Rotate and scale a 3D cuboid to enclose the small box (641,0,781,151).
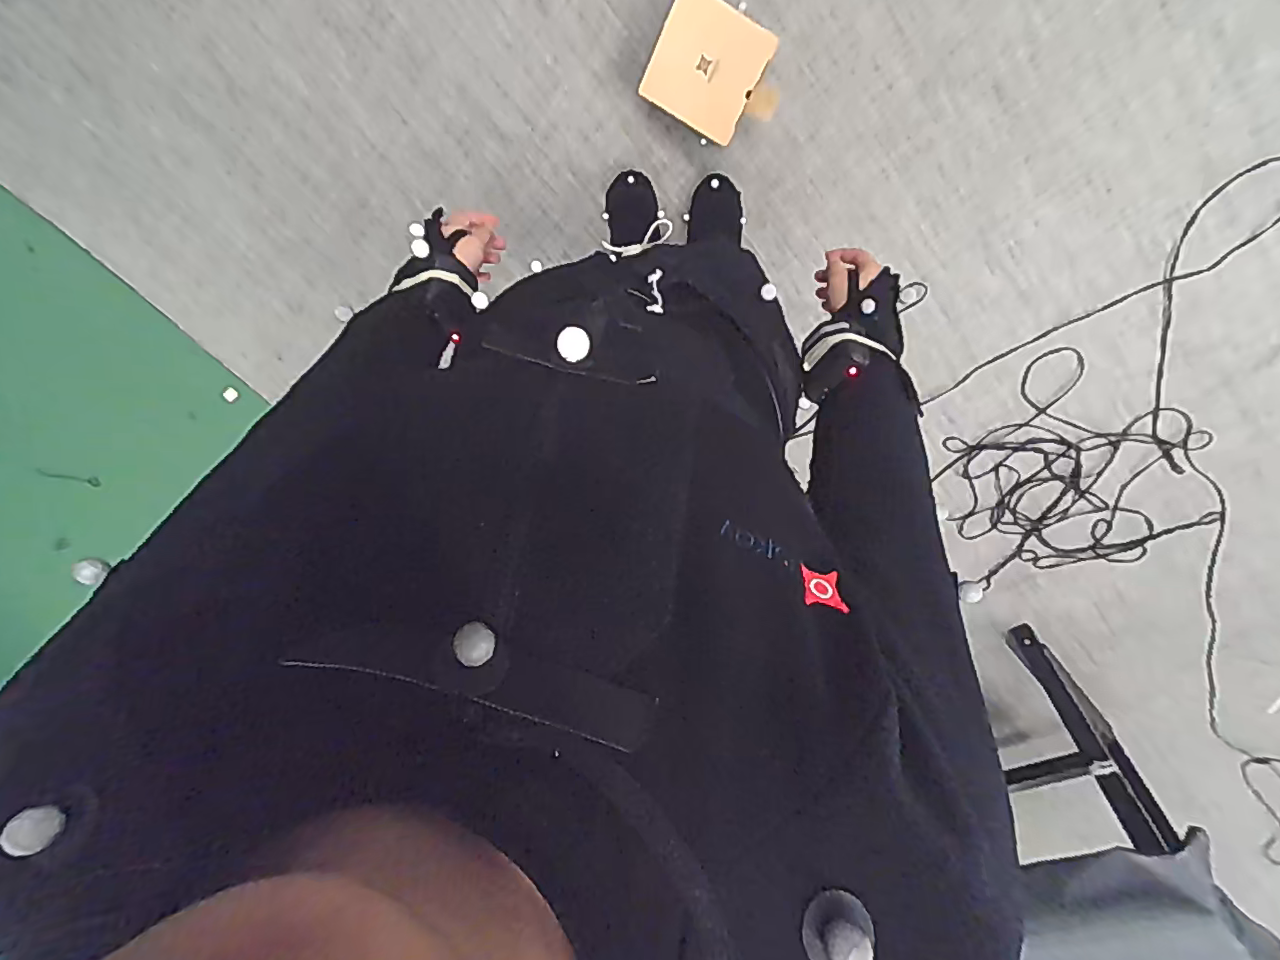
[{"bbox_3d":[0.122,-0.706,0.950,0.179,0.176,0.168,26,122,-9],"label":"small box"}]
